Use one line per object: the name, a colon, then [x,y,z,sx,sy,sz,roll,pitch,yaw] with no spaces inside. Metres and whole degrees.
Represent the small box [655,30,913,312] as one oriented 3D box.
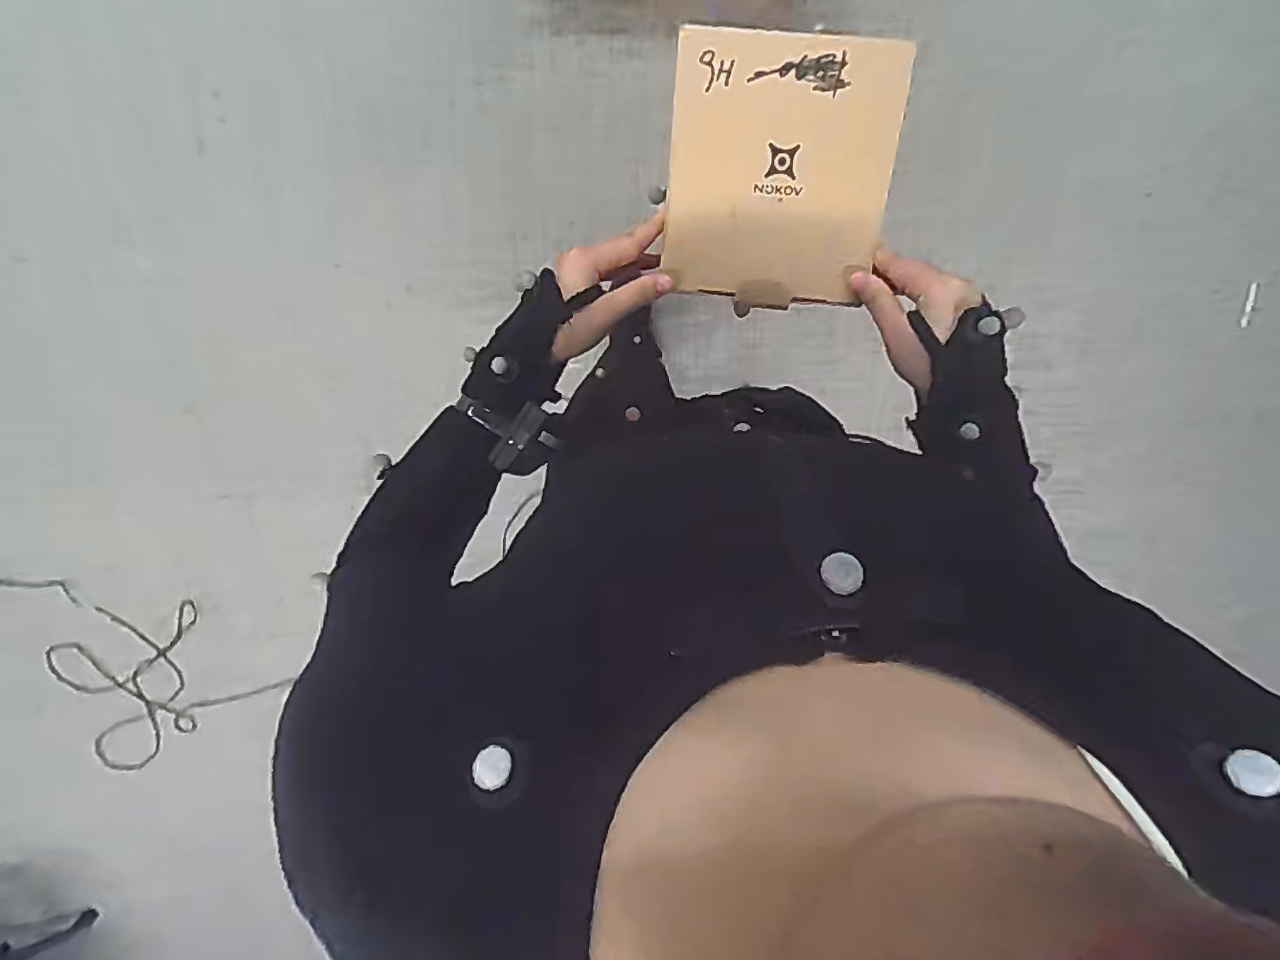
small box: [0.104,-0.251,0.476,0.168,0.176,0.179,5,111,0]
